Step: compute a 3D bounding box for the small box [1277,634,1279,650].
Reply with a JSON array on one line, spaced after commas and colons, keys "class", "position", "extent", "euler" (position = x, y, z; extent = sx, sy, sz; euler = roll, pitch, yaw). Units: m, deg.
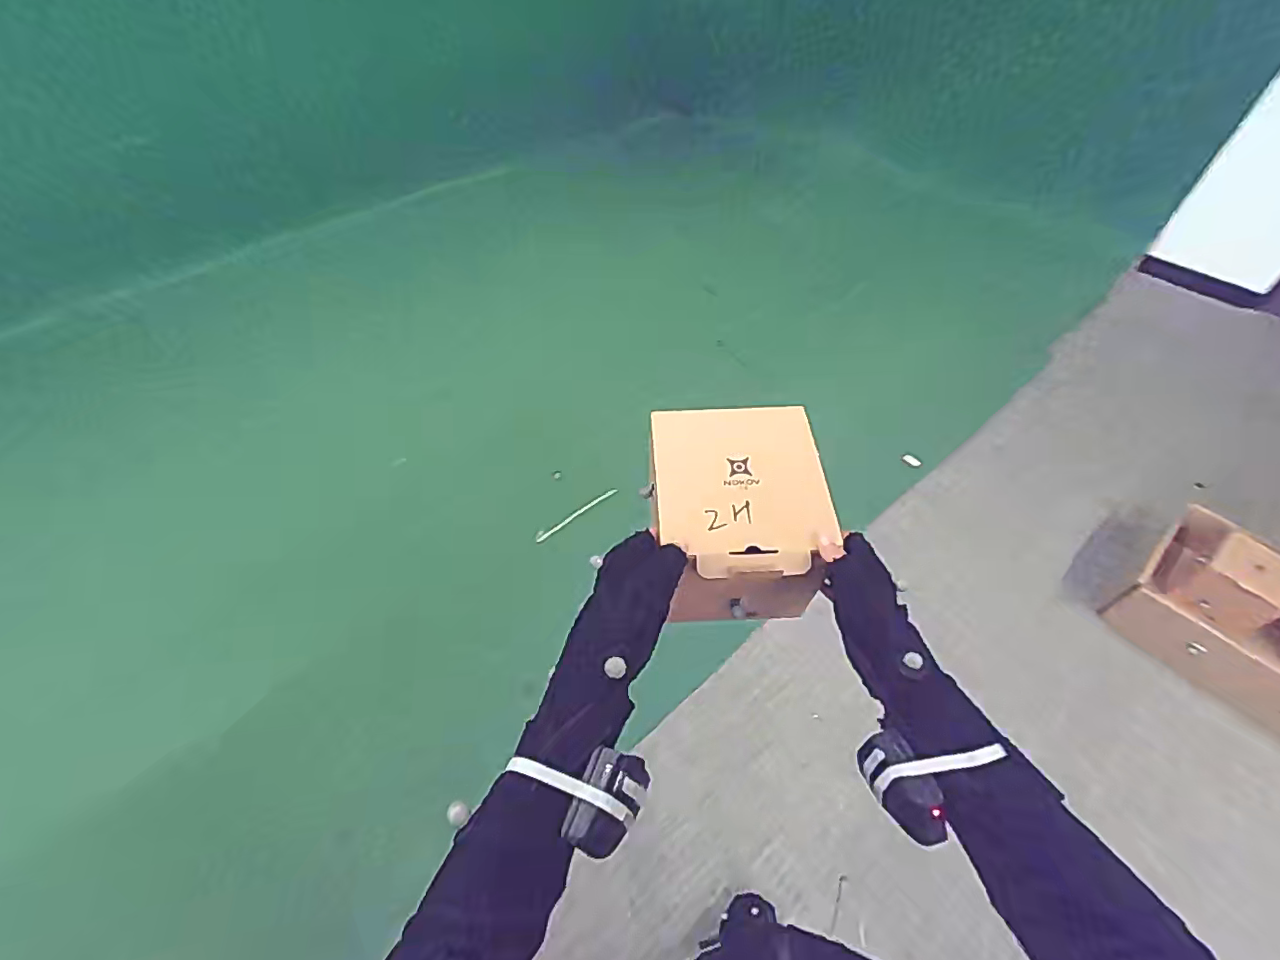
[{"class": "small box", "position": [1.747, 0.396, 1.329], "extent": [0.168, 0.176, 0.179], "euler": [36, 61, 27]}]

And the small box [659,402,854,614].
[{"class": "small box", "position": [0.108, 0.034, 0.594], "extent": [0.168, 0.176, 0.179], "euler": [-1, 56, -1]}]
